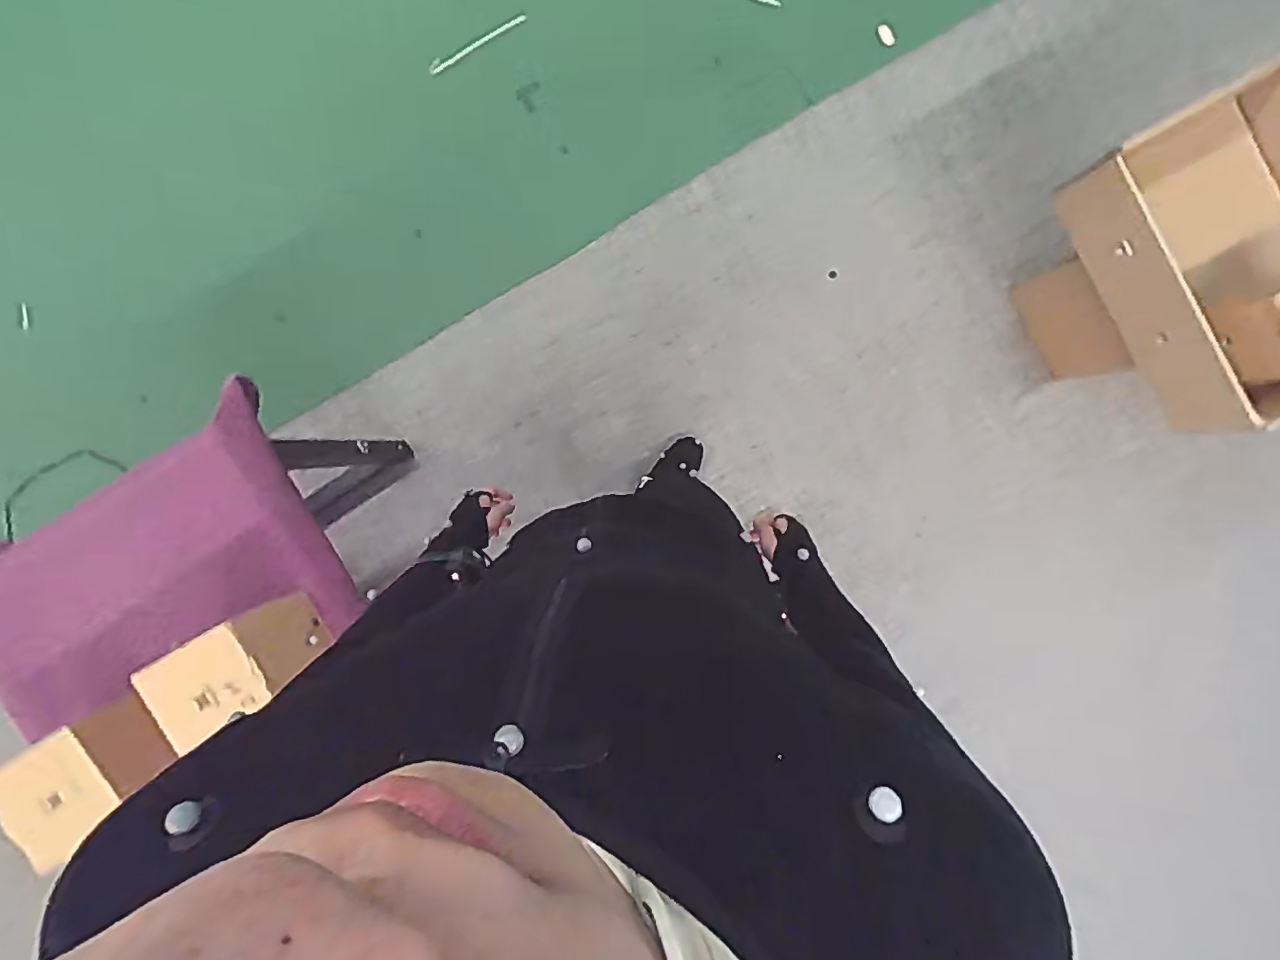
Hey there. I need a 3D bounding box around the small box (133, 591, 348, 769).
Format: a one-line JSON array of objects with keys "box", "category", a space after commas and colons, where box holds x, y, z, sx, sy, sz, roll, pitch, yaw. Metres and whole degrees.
[{"box": [-0.609, 0.301, 0.848, 0.179, 0.176, 0.168, -30, 93, 4], "category": "small box"}]

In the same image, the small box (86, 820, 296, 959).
[{"box": [-0.704, 0.705, 0.878, 0.179, 0.176, 0.168, -32, 92, 4], "category": "small box"}]

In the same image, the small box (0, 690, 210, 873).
[{"box": [-0.851, 0.462, 0.868, 0.179, 0.176, 0.168, -33, 93, 2], "category": "small box"}]
